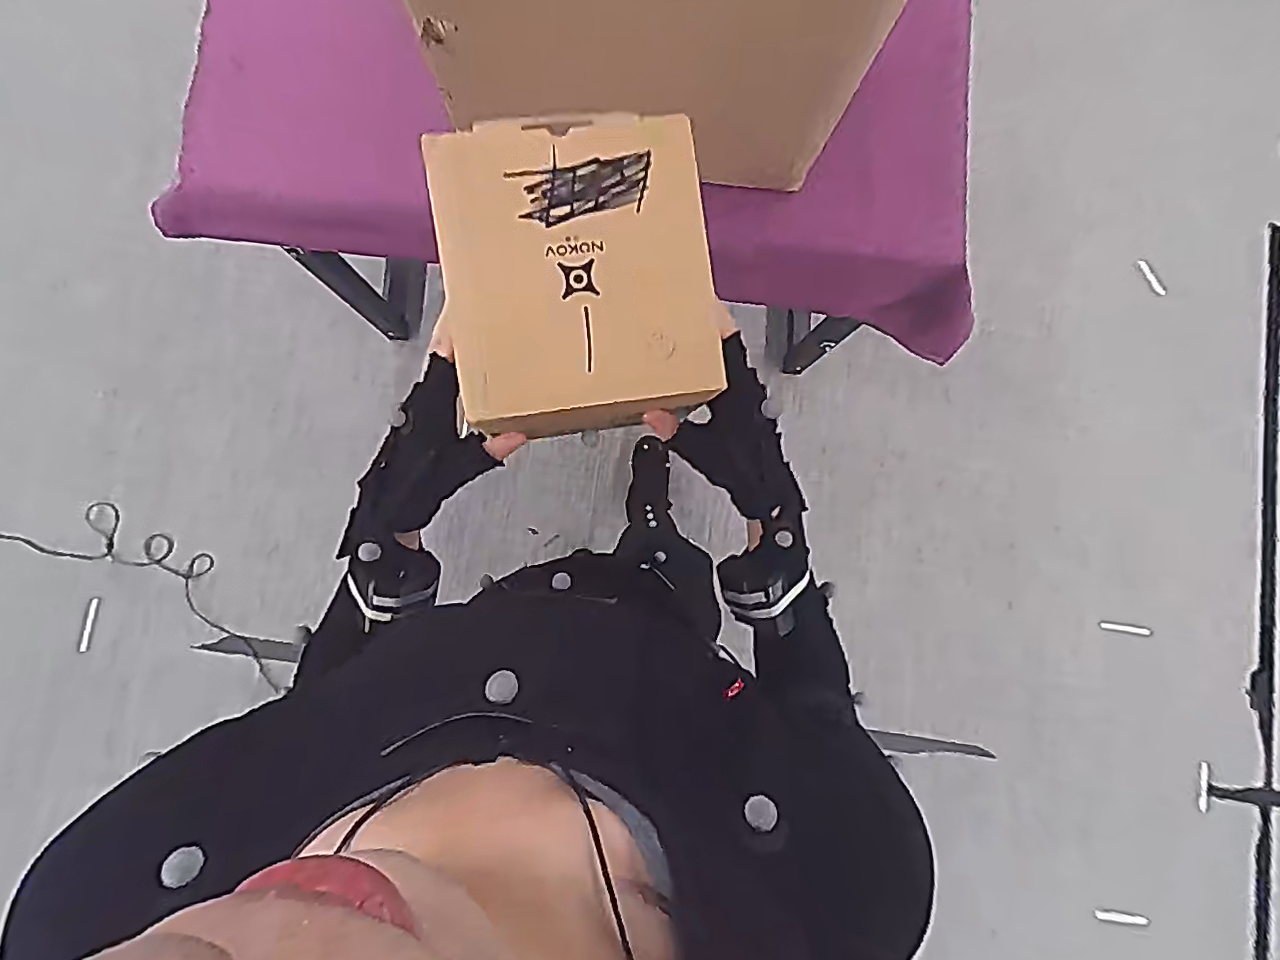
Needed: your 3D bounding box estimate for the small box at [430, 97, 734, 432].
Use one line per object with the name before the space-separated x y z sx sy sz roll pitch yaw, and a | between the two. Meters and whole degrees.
small box | -0.041 -0.139 0.405 0.168 0.176 0.179 -9 91 -5
